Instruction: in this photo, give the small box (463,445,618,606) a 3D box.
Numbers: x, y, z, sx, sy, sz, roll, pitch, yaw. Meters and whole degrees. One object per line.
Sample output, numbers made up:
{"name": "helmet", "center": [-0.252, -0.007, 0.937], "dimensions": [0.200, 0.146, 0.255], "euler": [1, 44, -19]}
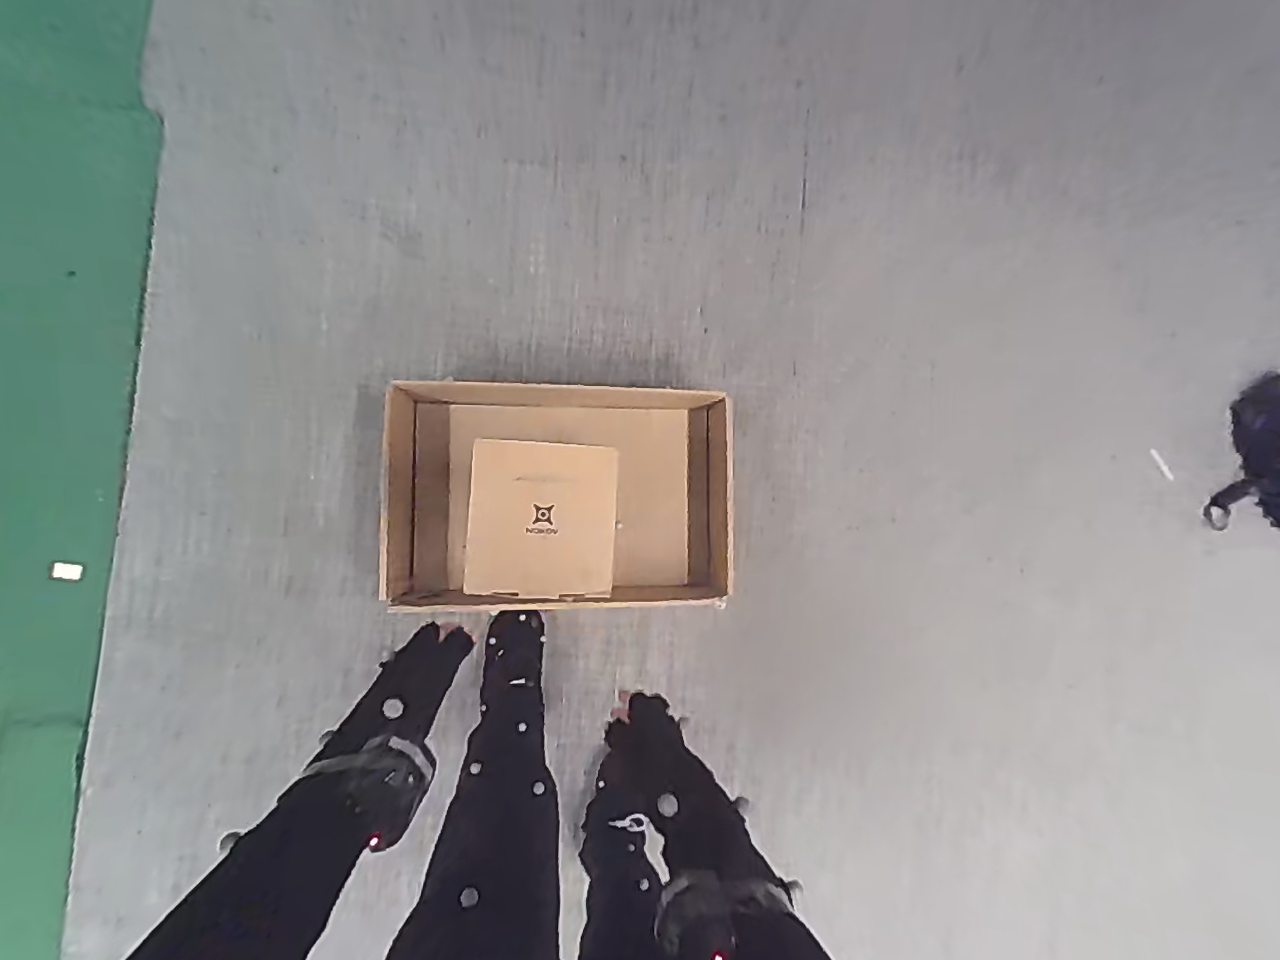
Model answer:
{"name": "small box", "center": [-0.121, 0.059, 0.691], "dimensions": [0.168, 0.176, 0.179], "euler": [4, 84, -8]}
